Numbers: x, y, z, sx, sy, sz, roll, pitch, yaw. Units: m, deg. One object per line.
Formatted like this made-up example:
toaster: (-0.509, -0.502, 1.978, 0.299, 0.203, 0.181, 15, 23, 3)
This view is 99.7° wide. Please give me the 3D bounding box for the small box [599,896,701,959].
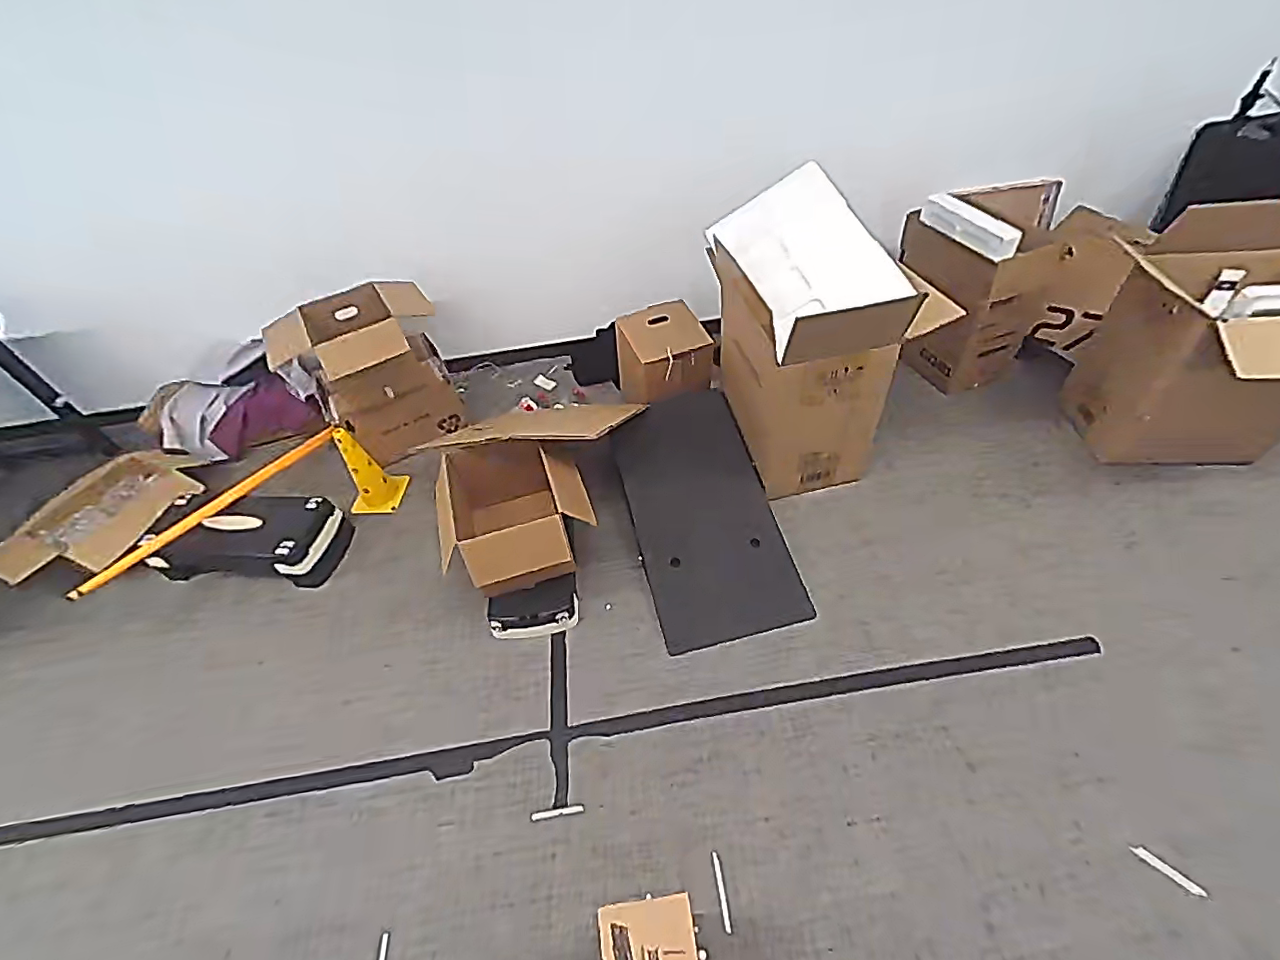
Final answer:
small box: (0.025, 0.901, 1.009, 0.179, 0.176, 0.168, -8, 46, -2)
